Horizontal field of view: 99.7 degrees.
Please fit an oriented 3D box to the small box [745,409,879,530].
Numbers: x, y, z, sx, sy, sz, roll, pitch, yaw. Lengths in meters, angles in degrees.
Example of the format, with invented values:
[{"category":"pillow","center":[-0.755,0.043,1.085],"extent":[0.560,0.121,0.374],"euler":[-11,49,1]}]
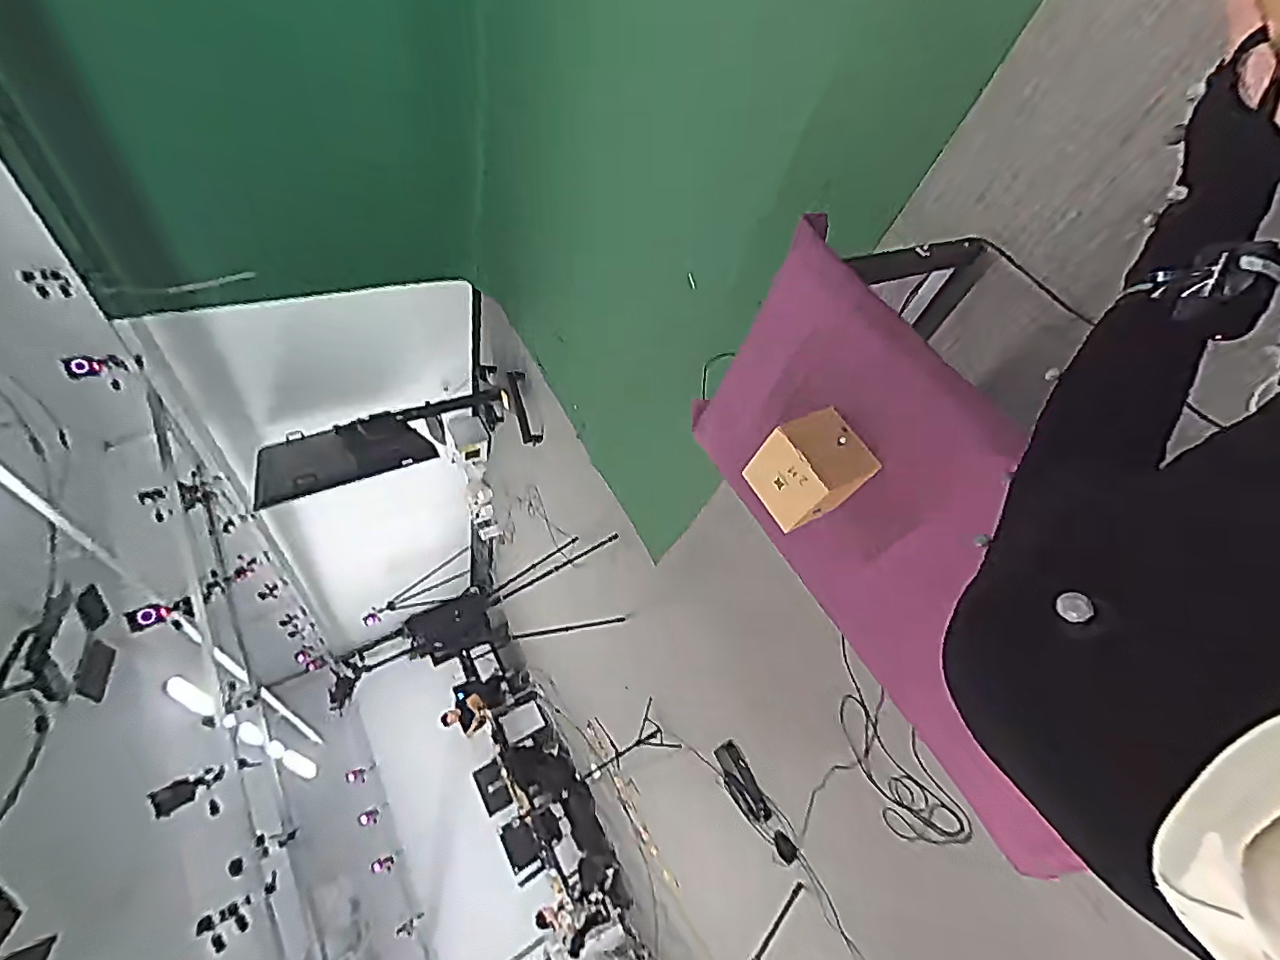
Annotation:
[{"category":"small box","center":[0.362,-0.024,1.146],"extent":[0.168,0.176,0.179],"euler":[57,149,21]}]
